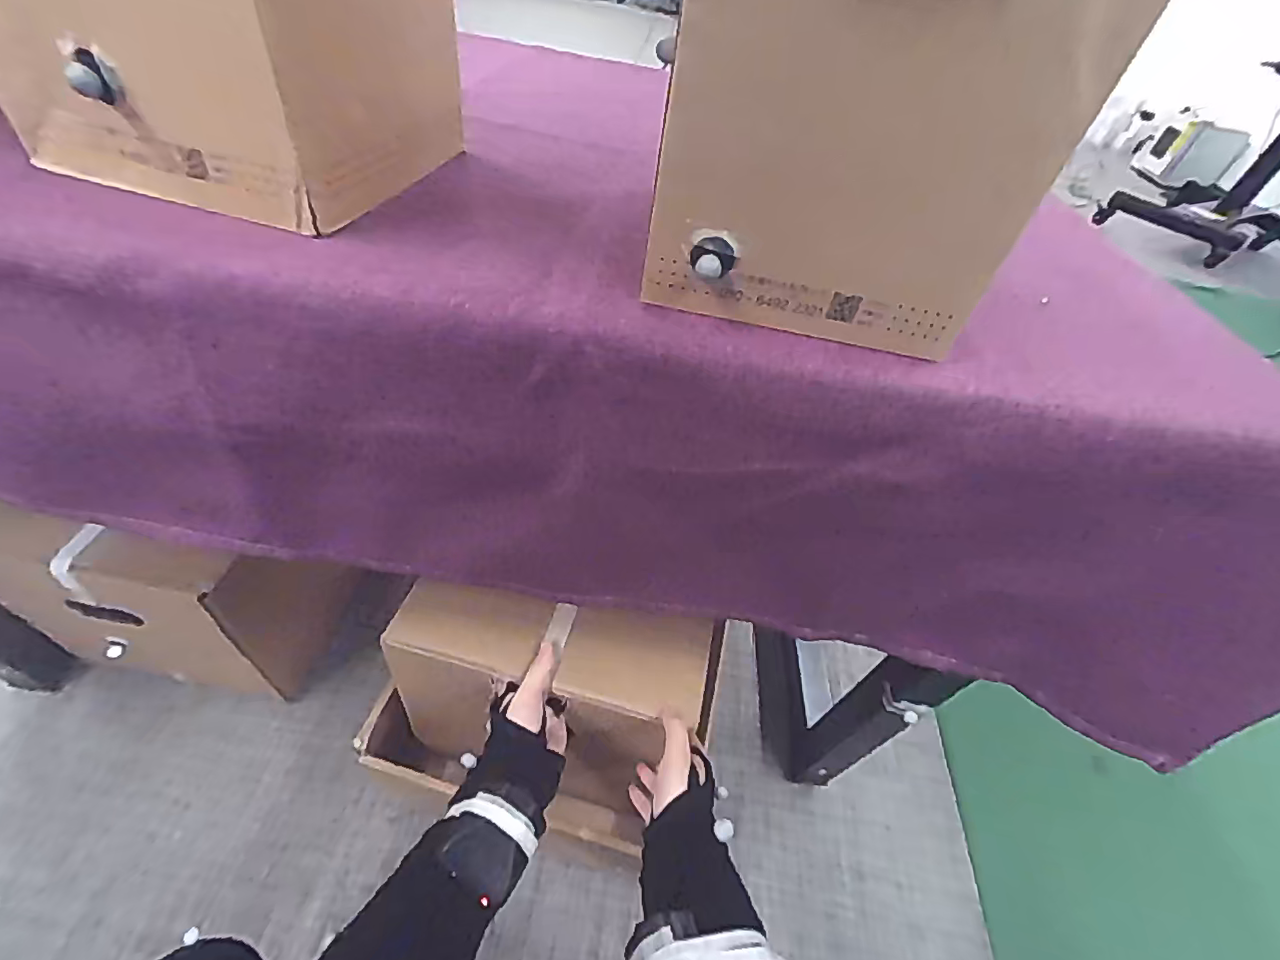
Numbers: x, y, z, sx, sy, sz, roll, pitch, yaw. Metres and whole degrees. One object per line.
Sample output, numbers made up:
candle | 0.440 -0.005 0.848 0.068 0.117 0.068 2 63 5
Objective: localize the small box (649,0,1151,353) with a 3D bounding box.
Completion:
small box | 0.102 -0.190 0.286 0.168 0.176 0.179 11 46 0
